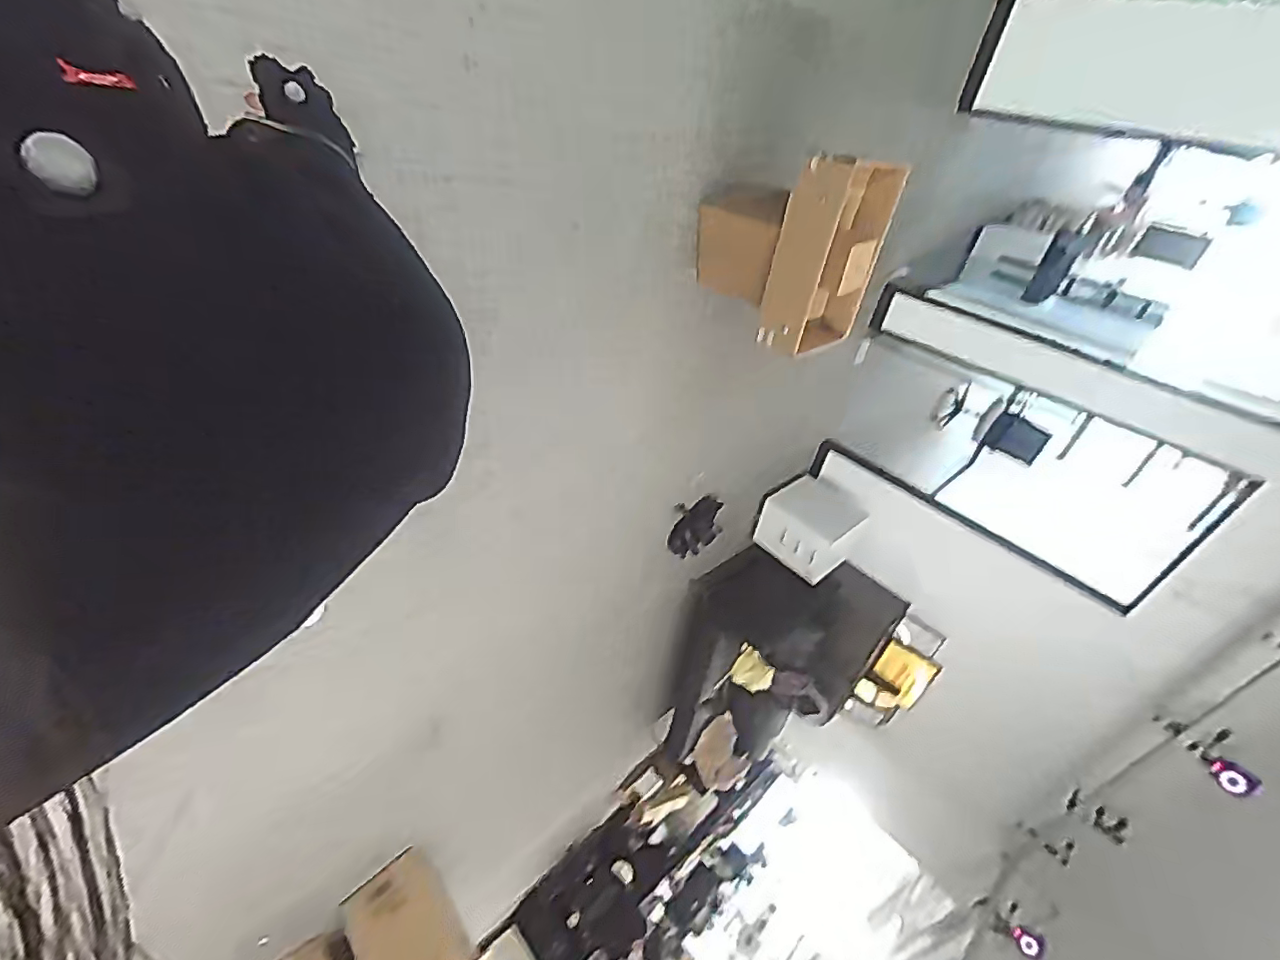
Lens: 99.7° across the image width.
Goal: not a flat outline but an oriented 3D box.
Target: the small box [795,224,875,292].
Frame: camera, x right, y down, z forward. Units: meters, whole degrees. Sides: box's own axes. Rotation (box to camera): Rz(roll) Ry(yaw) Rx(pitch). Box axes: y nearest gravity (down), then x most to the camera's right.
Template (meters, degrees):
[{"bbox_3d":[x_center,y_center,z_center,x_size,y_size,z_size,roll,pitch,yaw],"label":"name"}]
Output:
[{"bbox_3d":[0.669,-0.772,1.868,0.179,0.176,0.168,-28,139,-34],"label":"small box"}]
